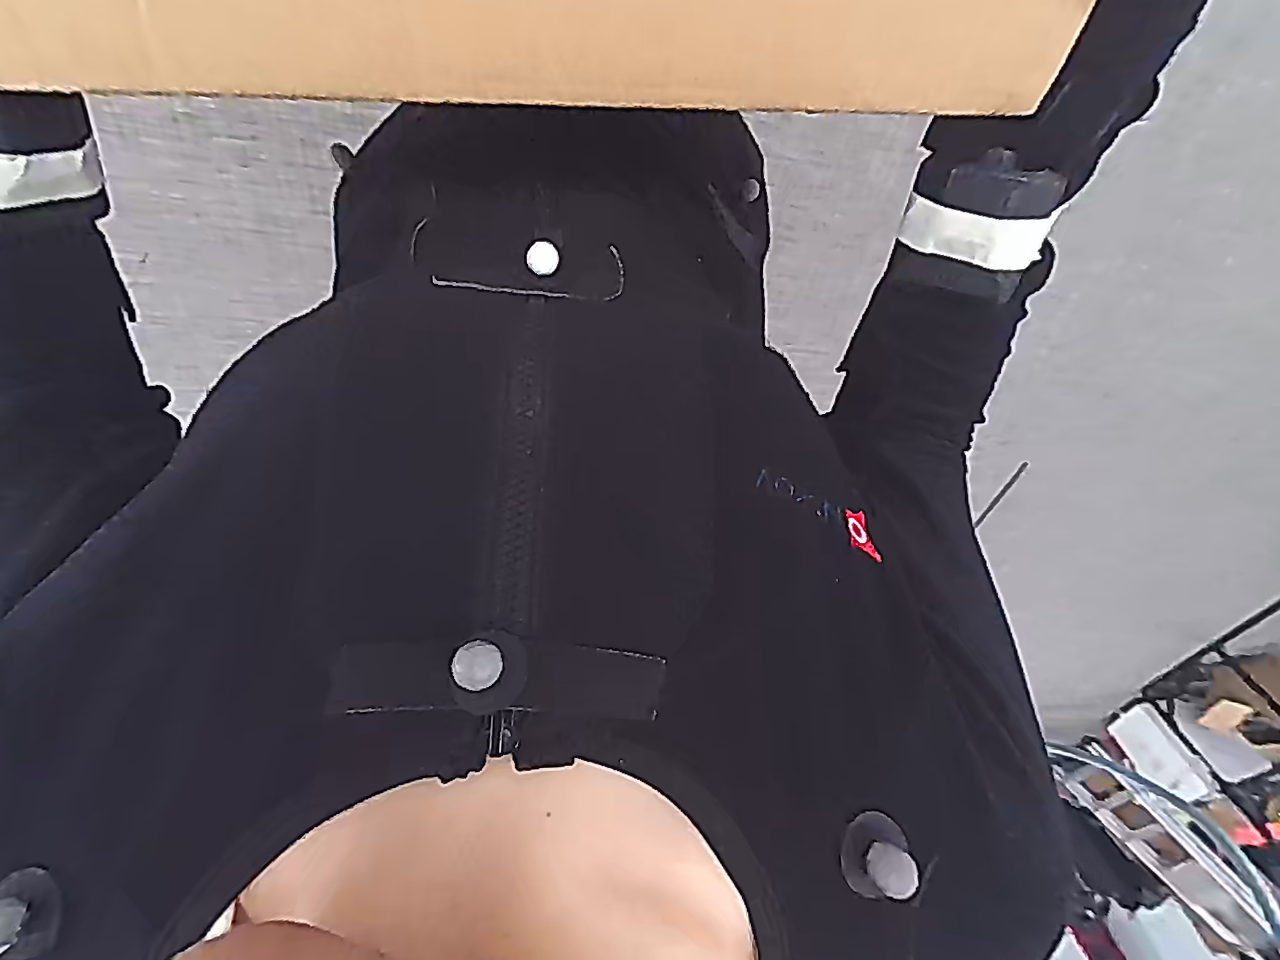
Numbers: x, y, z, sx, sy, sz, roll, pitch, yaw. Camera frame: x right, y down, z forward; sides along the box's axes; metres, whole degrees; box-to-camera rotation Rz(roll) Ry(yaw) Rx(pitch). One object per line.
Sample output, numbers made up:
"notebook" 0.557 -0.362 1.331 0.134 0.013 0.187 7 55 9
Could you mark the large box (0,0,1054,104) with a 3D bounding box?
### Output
"large box" -0.048 -0.361 0.182 0.408 0.320 0.320 -2 141 -6
